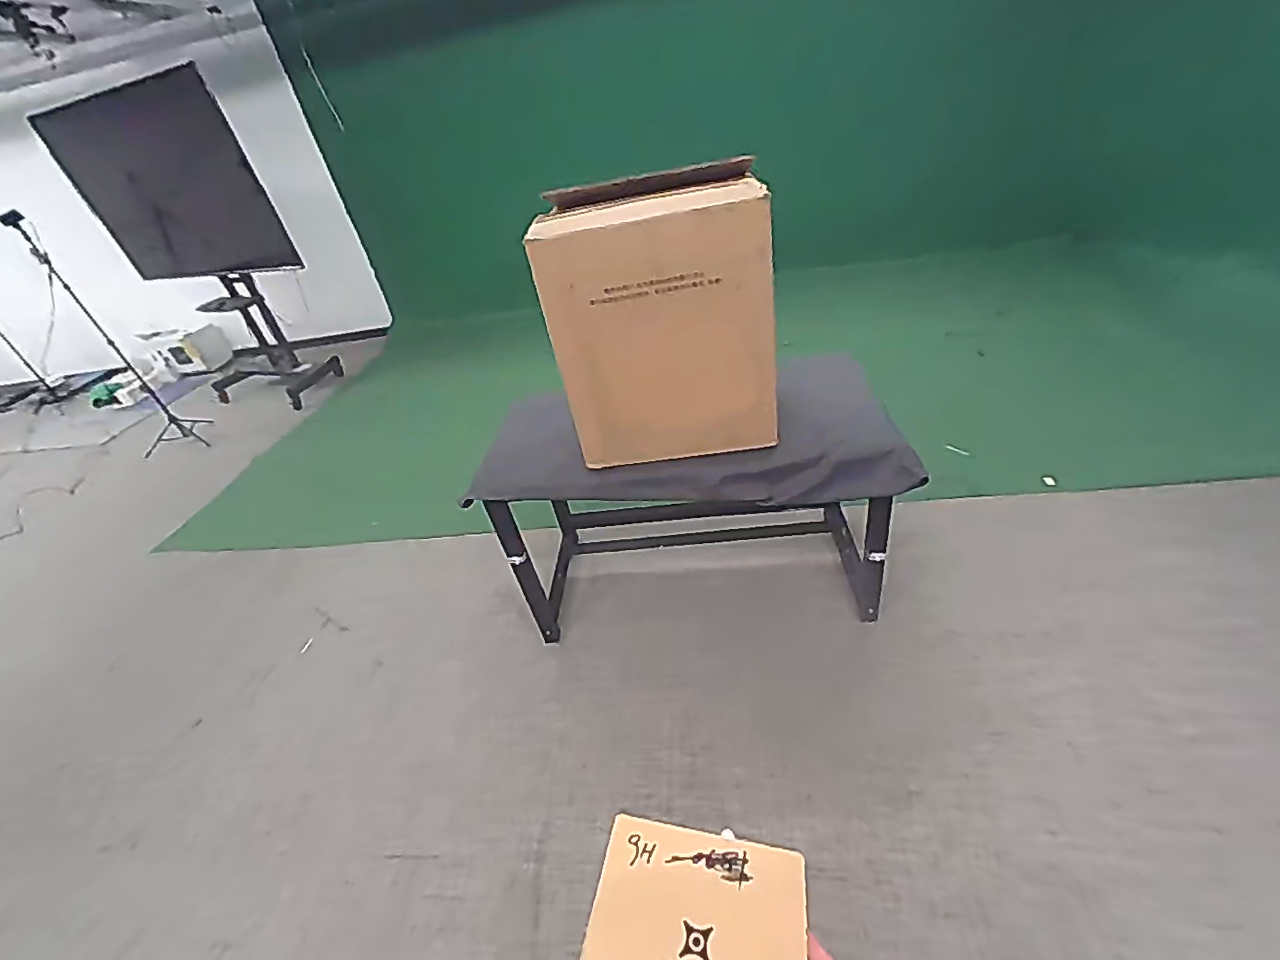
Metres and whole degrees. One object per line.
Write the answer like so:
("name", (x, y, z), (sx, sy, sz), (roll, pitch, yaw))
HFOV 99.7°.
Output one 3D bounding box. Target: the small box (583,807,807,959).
("small box", (0.046, 0.417, 0.449), (0.168, 0.176, 0.179), (5, 34, 11))
